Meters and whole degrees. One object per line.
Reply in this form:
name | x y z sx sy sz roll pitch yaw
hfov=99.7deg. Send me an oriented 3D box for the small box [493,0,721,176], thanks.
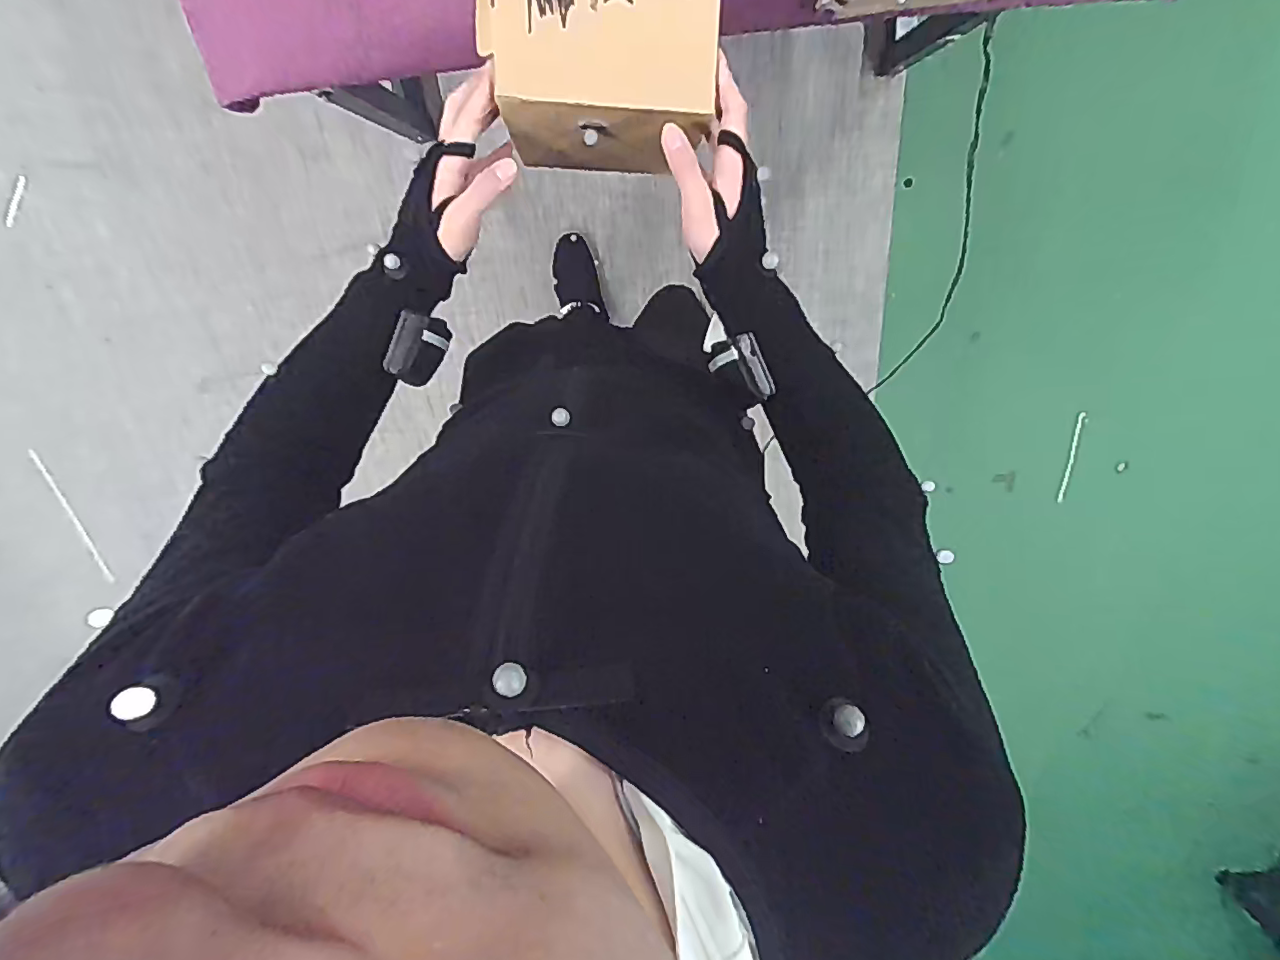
small box | -0.030 -0.390 0.487 0.179 0.176 0.168 1 105 -6
